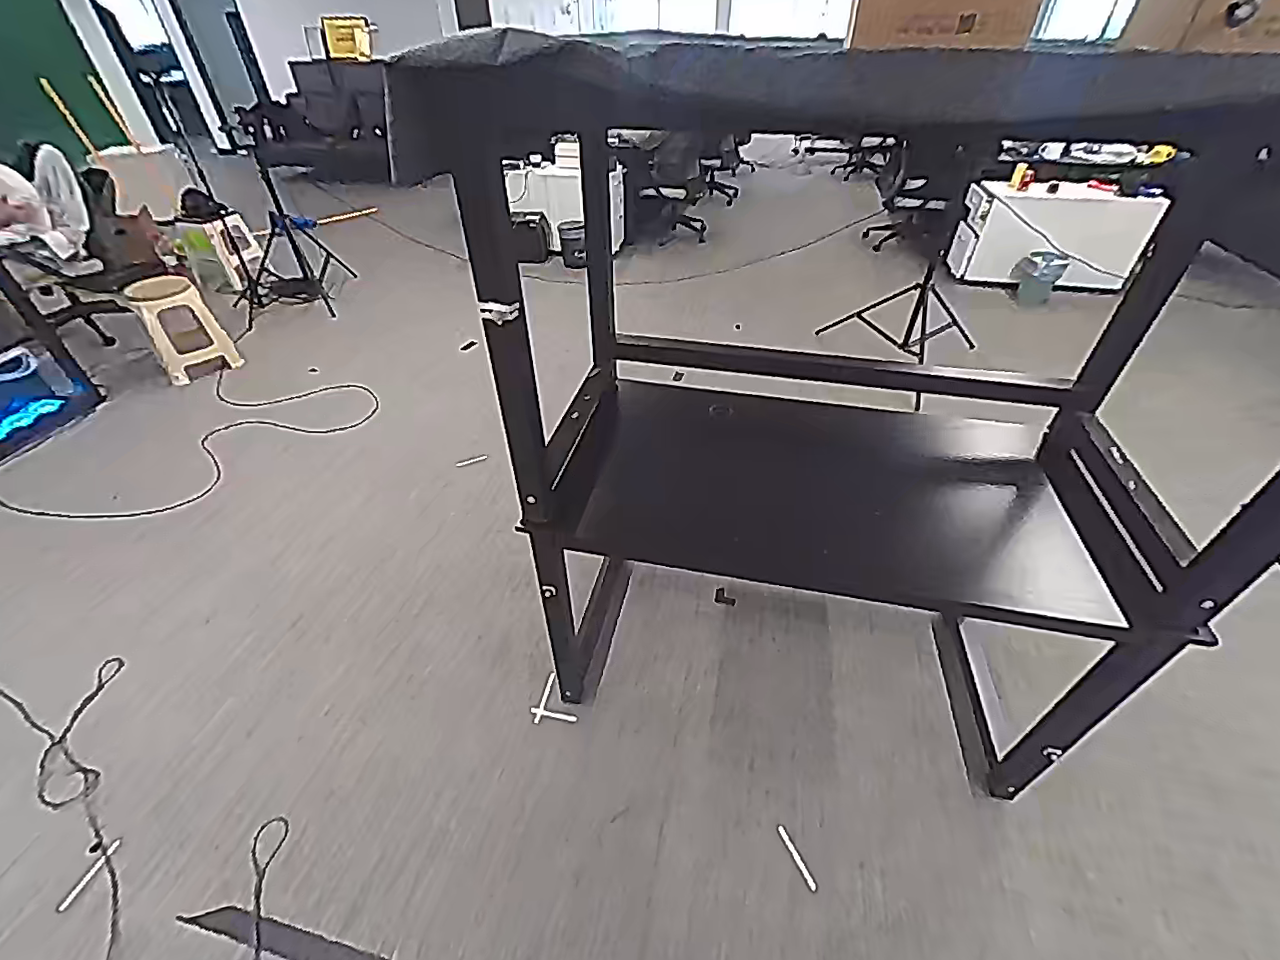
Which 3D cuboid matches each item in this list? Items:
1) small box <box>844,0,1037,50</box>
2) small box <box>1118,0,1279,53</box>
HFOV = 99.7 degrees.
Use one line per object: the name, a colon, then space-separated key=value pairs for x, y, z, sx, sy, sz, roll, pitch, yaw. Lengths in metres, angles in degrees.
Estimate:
small box: x=0.311 y=-0.547 z=0.547 sx=0.168 sy=0.176 sz=0.179 roll=9 pitch=39 yaw=11
small box: x=0.604 y=-0.507 z=0.500 sx=0.168 sy=0.176 sz=0.179 roll=11 pitch=40 yaw=13
